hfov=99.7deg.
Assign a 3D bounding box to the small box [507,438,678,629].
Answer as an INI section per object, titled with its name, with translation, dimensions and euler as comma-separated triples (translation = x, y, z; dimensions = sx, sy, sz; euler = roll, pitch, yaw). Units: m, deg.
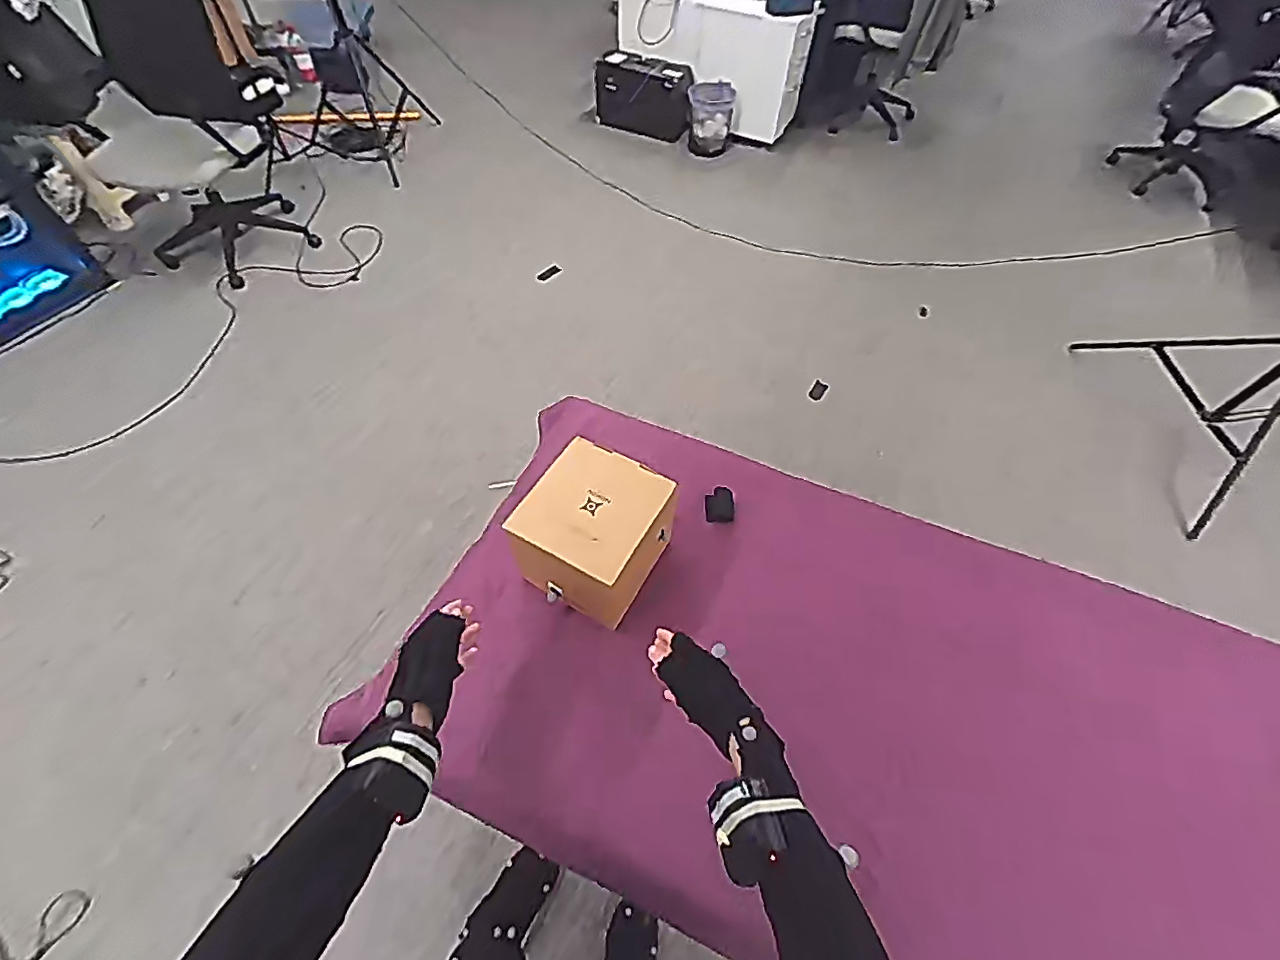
[small box]
translation = -0.062, 0.079, 0.770
dimensions = 0.168, 0.176, 0.179
euler = 25, 59, 16
